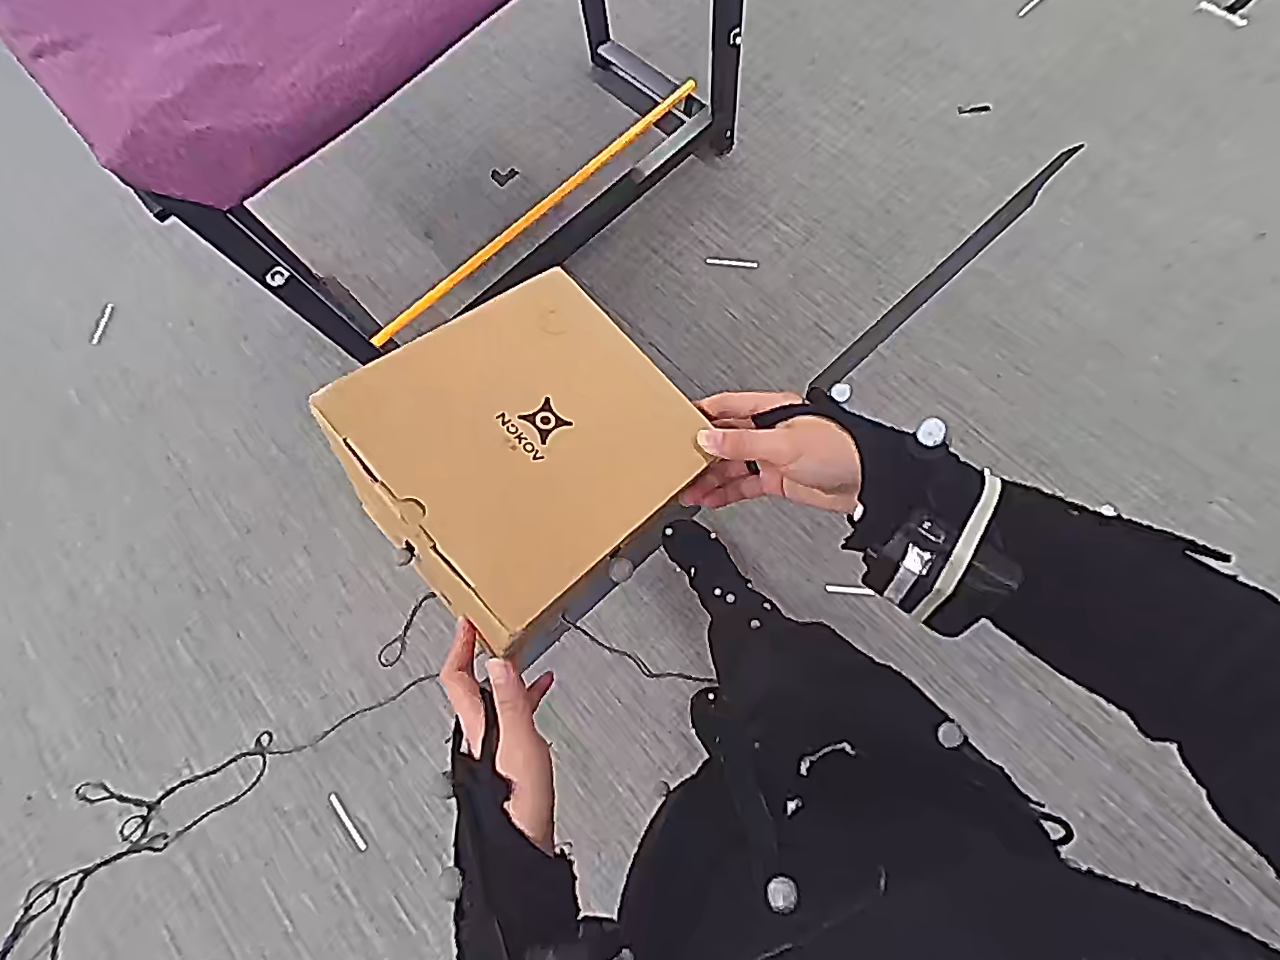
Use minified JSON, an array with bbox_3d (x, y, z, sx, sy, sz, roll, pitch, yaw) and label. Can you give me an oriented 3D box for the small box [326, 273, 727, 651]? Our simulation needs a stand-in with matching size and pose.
[{"bbox_3d":[-0.077,-0.002,0.385,0.179,0.176,0.168,-40,83,-26],"label":"small box"}]
